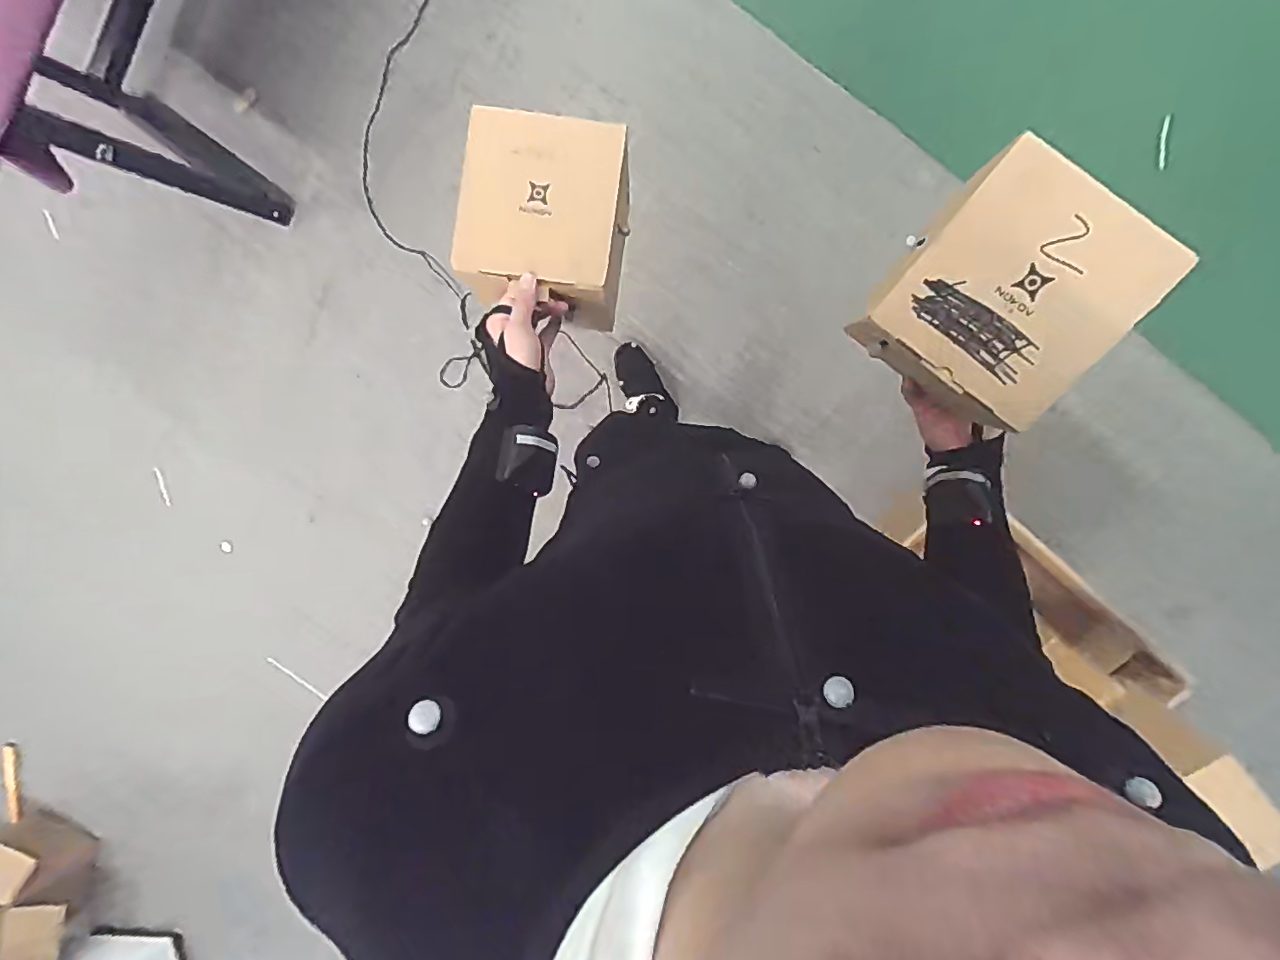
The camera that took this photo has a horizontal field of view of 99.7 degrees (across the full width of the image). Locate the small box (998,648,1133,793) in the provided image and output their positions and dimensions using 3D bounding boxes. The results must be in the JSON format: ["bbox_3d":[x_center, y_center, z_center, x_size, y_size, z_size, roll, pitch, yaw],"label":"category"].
[{"bbox_3d":[0.794,0.435,0.956,0.179,0.176,0.168,40,103,0],"label":"small box"}]

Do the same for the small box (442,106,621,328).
[{"bbox_3d":[-0.115,-0.294,0.643,0.168,0.176,0.179,8,89,0],"label":"small box"}]

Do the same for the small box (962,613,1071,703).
[{"bbox_3d":[0.818,0.408,1.114,0.179,0.176,0.168,41,102,0],"label":"small box"}]

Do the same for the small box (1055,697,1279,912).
[{"bbox_3d":[0.778,0.463,0.795,0.168,0.176,0.179,-40,91,13],"label":"small box"}]
